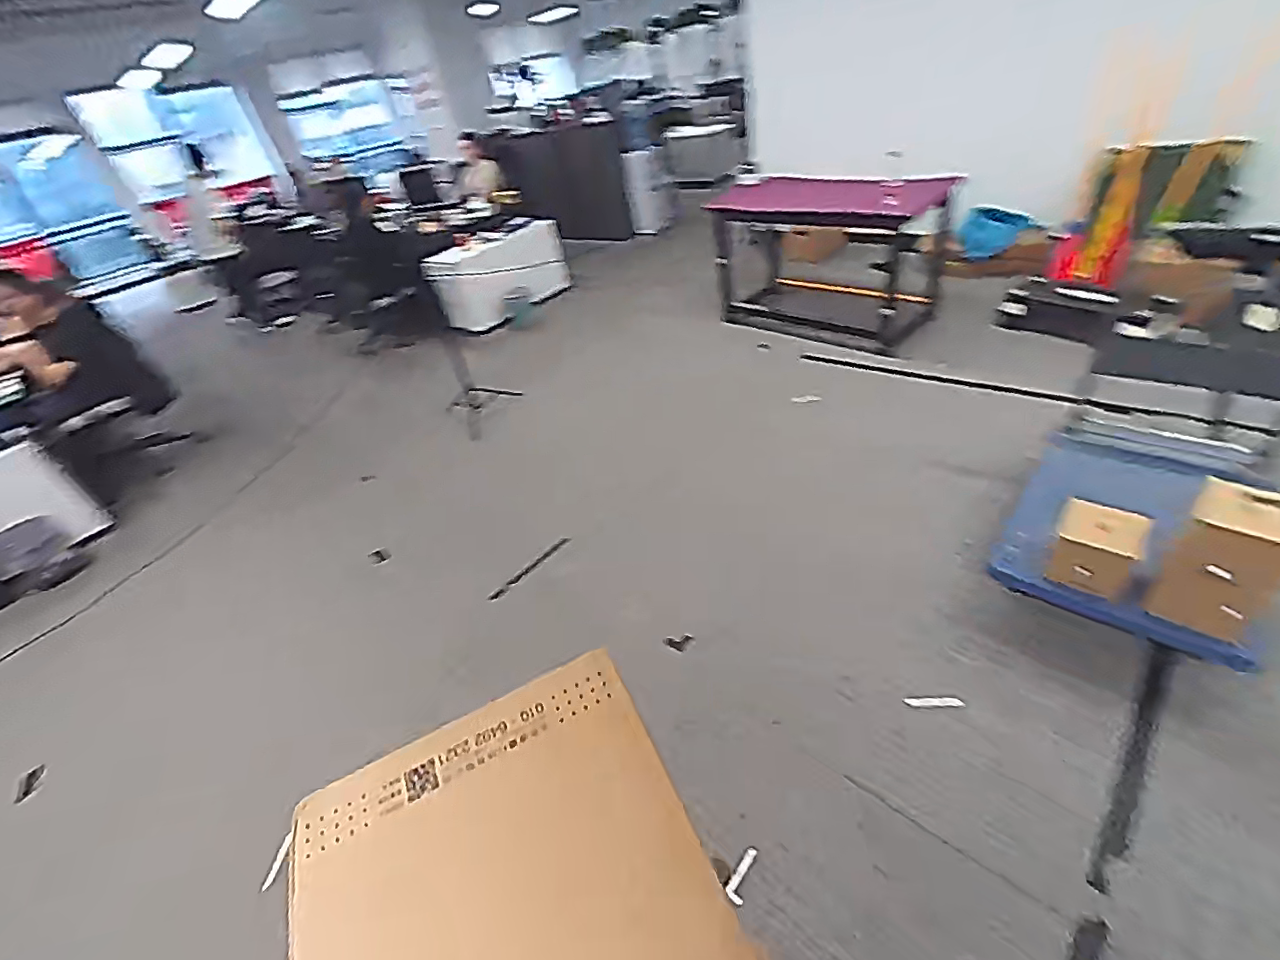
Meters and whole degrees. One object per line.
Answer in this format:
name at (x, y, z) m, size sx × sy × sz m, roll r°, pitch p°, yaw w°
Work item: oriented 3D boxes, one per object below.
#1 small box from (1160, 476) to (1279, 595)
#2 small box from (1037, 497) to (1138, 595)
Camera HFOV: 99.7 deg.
small box at (1.344, 0.126, 1.241) m, size 0.168 × 0.176 × 0.179 m, roll 24°, pitch 51°, yaw 38°
small box at (1.216, 0.182, 1.477) m, size 0.168 × 0.176 × 0.179 m, roll 21°, pitch 49°, yaw 35°
